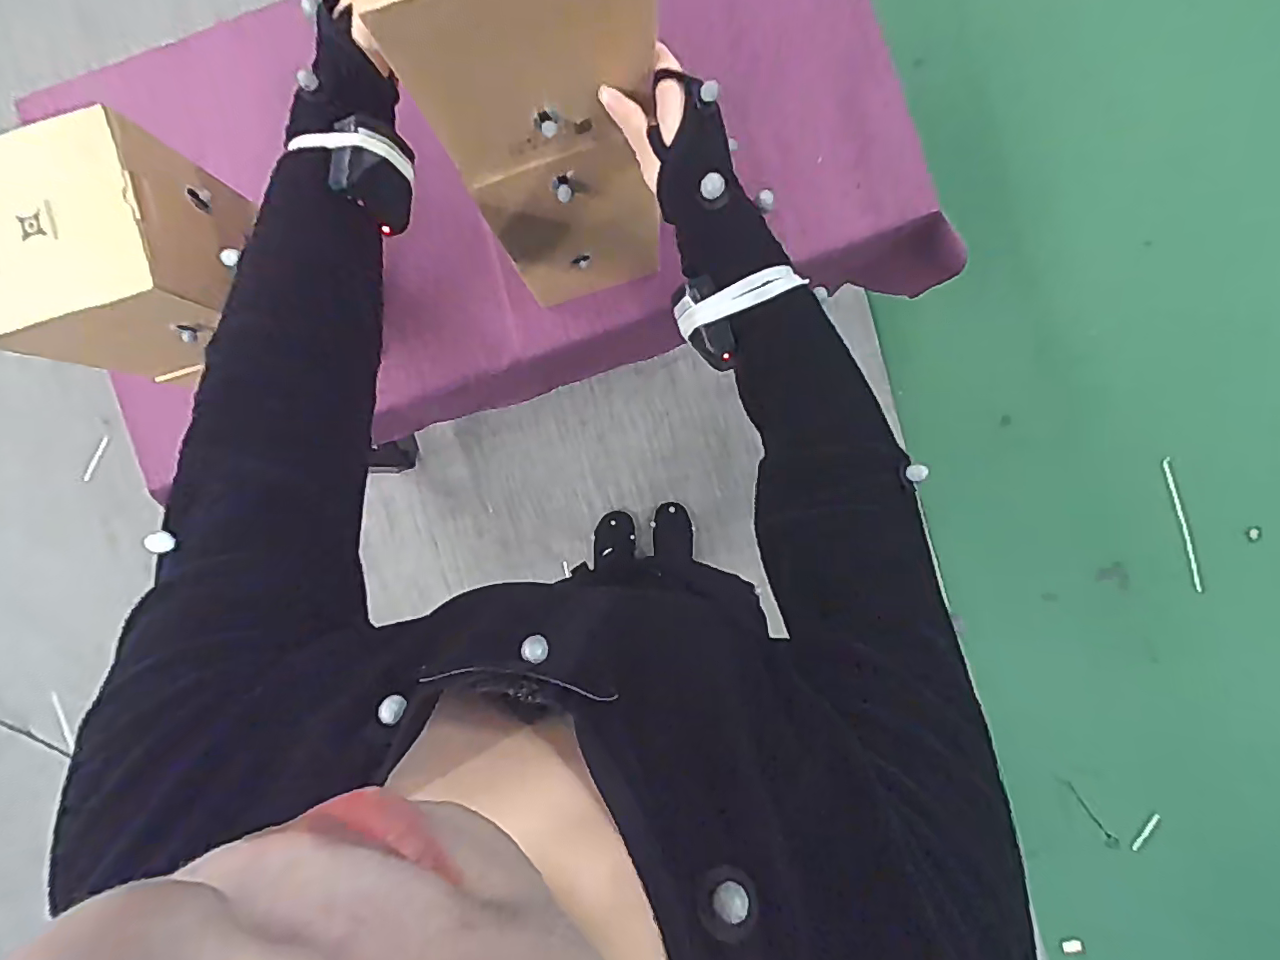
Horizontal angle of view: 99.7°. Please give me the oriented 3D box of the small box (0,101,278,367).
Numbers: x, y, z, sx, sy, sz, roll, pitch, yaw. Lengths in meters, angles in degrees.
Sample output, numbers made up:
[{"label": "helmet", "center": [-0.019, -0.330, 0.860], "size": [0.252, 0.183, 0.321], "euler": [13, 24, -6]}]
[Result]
[{"label": "small box", "center": [-0.504, -0.224, 0.541], "size": [0.179, 0.176, 0.168], "euler": [-15, 91, 3]}]

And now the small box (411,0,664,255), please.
[{"label": "small box", "center": [-0.083, -0.348, 0.525], "size": [0.179, 0.176, 0.168], "euler": [-17, 91, 3]}]

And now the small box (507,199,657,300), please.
[{"label": "small box", "center": [-0.081, -0.350, 0.688], "size": [0.179, 0.176, 0.168], "euler": [-17, 91, 2]}]
